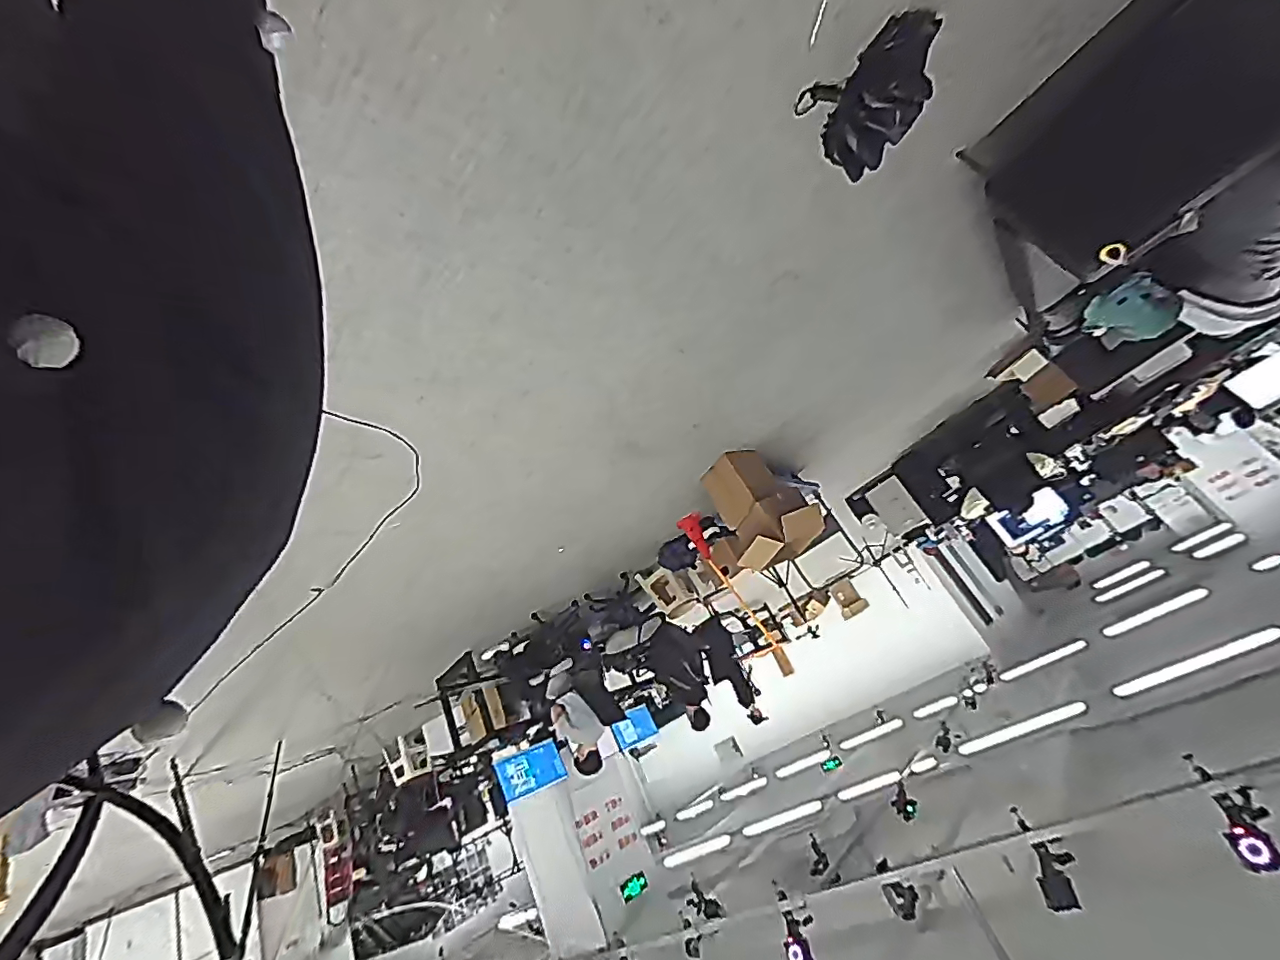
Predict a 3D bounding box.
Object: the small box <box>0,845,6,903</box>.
[{"bbox_3d":[-1.998,1.209,1.577,0.179,0.176,0.168,5,139,-49],"label":"small box"}]
